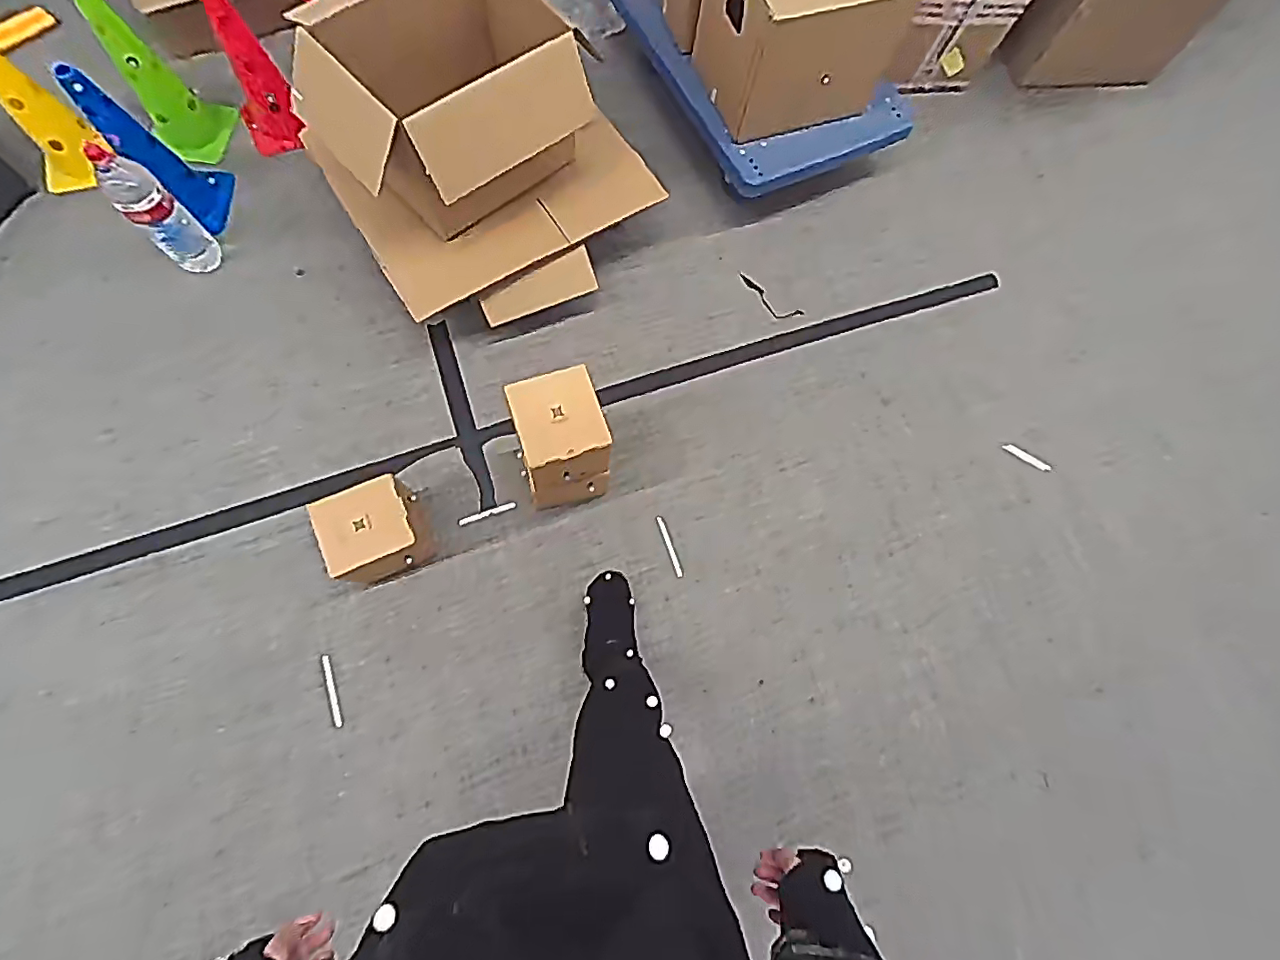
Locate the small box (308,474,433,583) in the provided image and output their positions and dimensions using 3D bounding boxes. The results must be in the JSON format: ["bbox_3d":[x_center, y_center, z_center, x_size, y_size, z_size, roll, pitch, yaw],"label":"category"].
[{"bbox_3d":[-0.569,0.110,1.170,0.179,0.176,0.168,-24,77,-10],"label":"small box"}]

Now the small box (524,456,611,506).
[{"bbox_3d":[-0.175,-0.050,1.252,0.179,0.176,0.168,-14,76,-10],"label":"small box"}]

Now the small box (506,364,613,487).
[{"bbox_3d":[-0.163,-0.105,1.099,0.168,0.176,0.179,-18,78,-11],"label":"small box"}]
